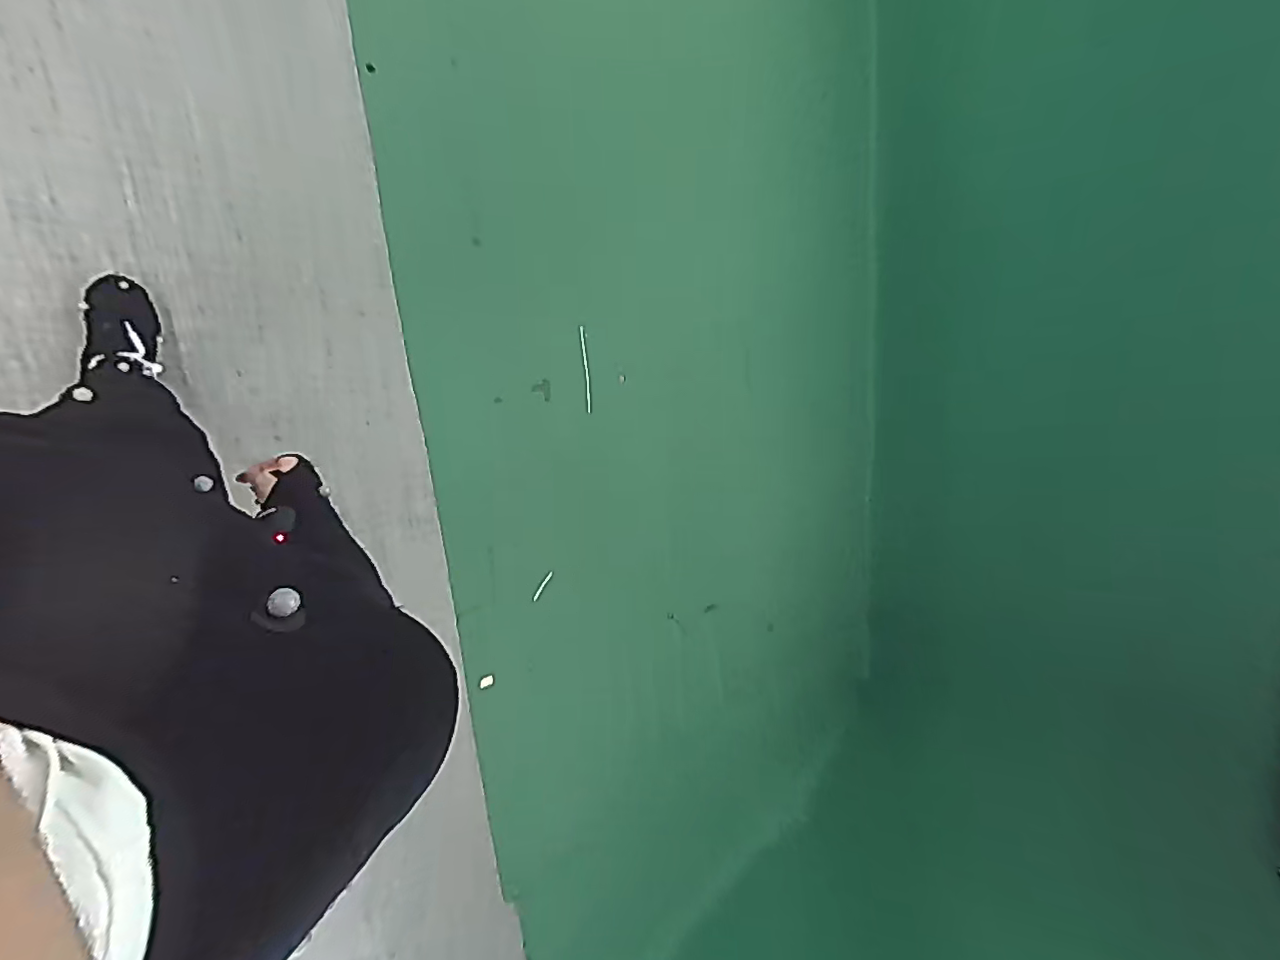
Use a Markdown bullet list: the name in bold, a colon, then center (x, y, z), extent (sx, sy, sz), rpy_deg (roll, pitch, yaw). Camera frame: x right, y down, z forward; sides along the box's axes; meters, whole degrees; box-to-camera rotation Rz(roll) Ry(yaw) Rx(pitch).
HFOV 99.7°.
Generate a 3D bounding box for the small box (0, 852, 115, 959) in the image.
- **small box**: center (-1.211, 0.909, 1.104), extent (0.168, 0.176, 0.179), rpy_deg (-16, 107, -43)

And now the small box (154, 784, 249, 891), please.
- **small box**: center (-1.022, 0.860, 1.280), extent (0.168, 0.176, 0.179), rpy_deg (-16, 107, -41)
